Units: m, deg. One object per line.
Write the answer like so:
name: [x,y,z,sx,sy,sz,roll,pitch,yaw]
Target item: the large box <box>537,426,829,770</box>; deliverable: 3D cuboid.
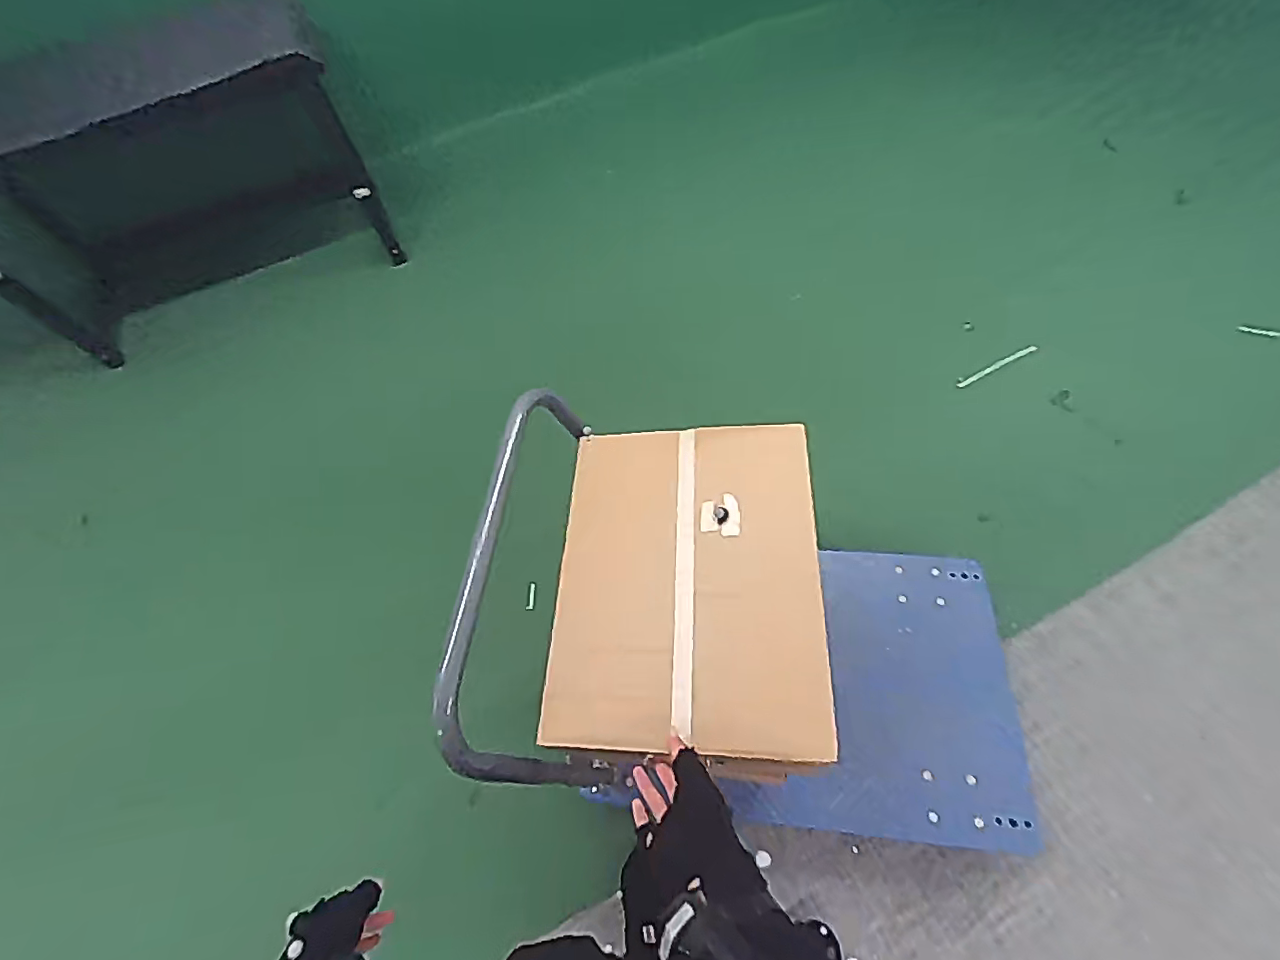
large box: [0.074,0.181,0.780,0.320,0.320,0.408,-2,59,11]
